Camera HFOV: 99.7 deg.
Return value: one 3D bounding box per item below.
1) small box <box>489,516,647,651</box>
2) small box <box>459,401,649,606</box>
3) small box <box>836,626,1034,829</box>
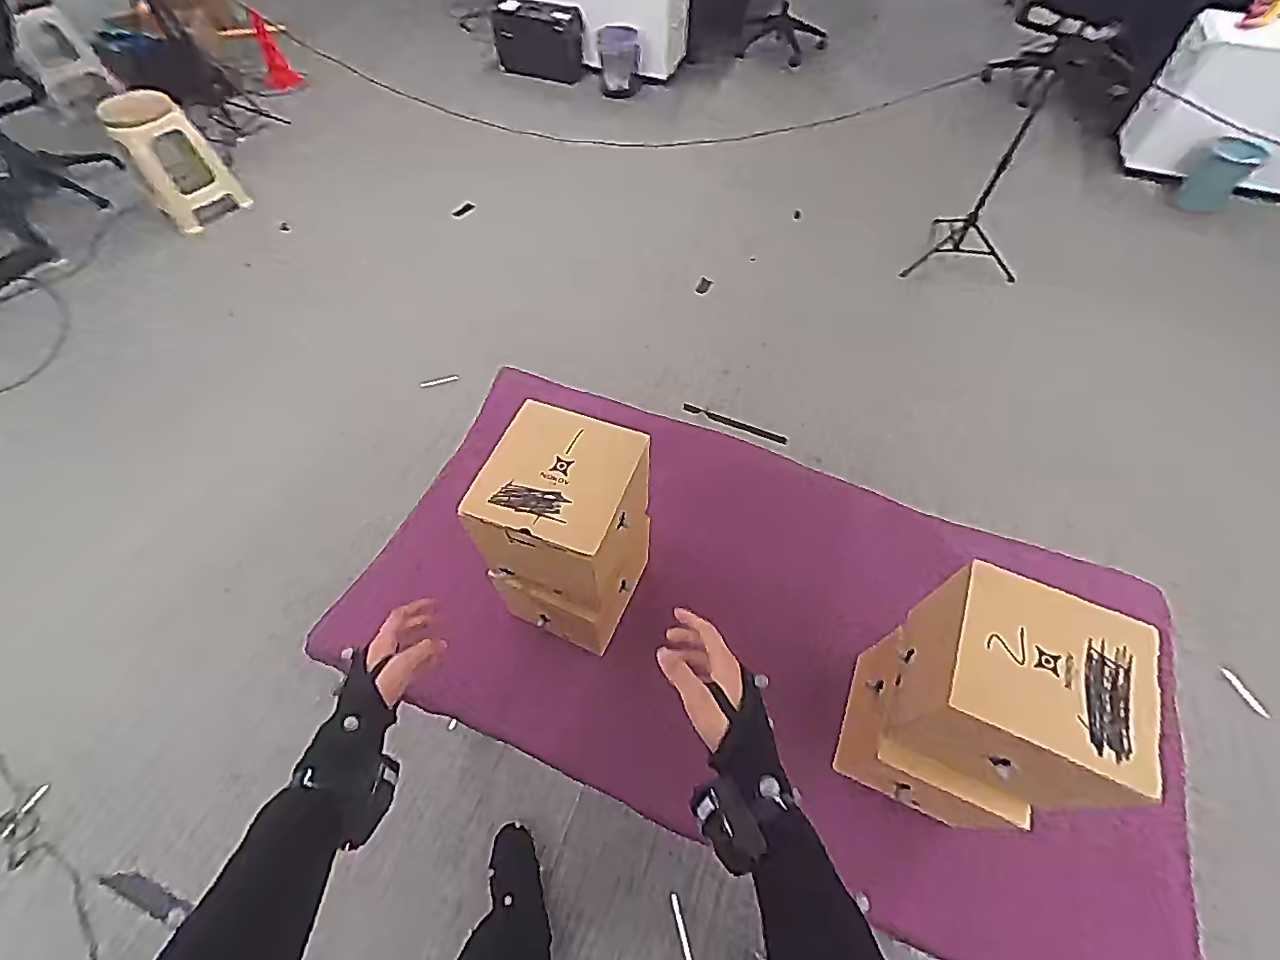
[{"bbox_3d":[-0.097,0.134,0.819,0.168,0.176,0.179,22,60,12],"label":"small box"},{"bbox_3d":[-0.095,0.036,0.686,0.168,0.176,0.179,19,58,10],"label":"small box"},{"bbox_3d":[0.374,0.327,0.708,0.168,0.176,0.179,22,59,13],"label":"small box"}]
